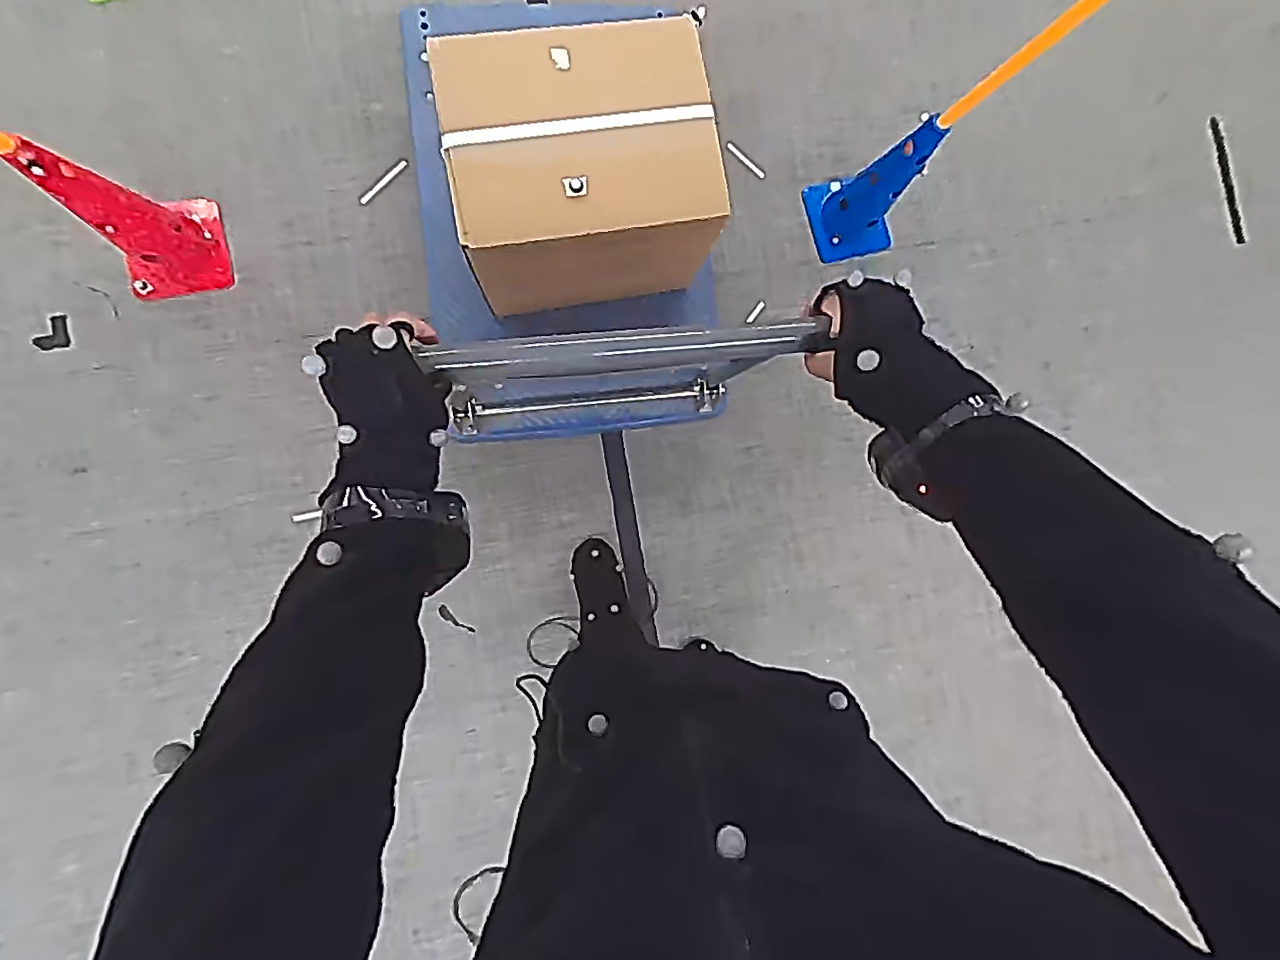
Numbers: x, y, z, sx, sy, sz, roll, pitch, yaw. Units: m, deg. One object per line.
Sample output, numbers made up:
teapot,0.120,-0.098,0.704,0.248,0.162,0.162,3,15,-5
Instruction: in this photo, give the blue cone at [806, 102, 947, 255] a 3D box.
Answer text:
blue cone,0.543,-0.674,1.198,0.193,0.380,0.192,-14,89,-8
